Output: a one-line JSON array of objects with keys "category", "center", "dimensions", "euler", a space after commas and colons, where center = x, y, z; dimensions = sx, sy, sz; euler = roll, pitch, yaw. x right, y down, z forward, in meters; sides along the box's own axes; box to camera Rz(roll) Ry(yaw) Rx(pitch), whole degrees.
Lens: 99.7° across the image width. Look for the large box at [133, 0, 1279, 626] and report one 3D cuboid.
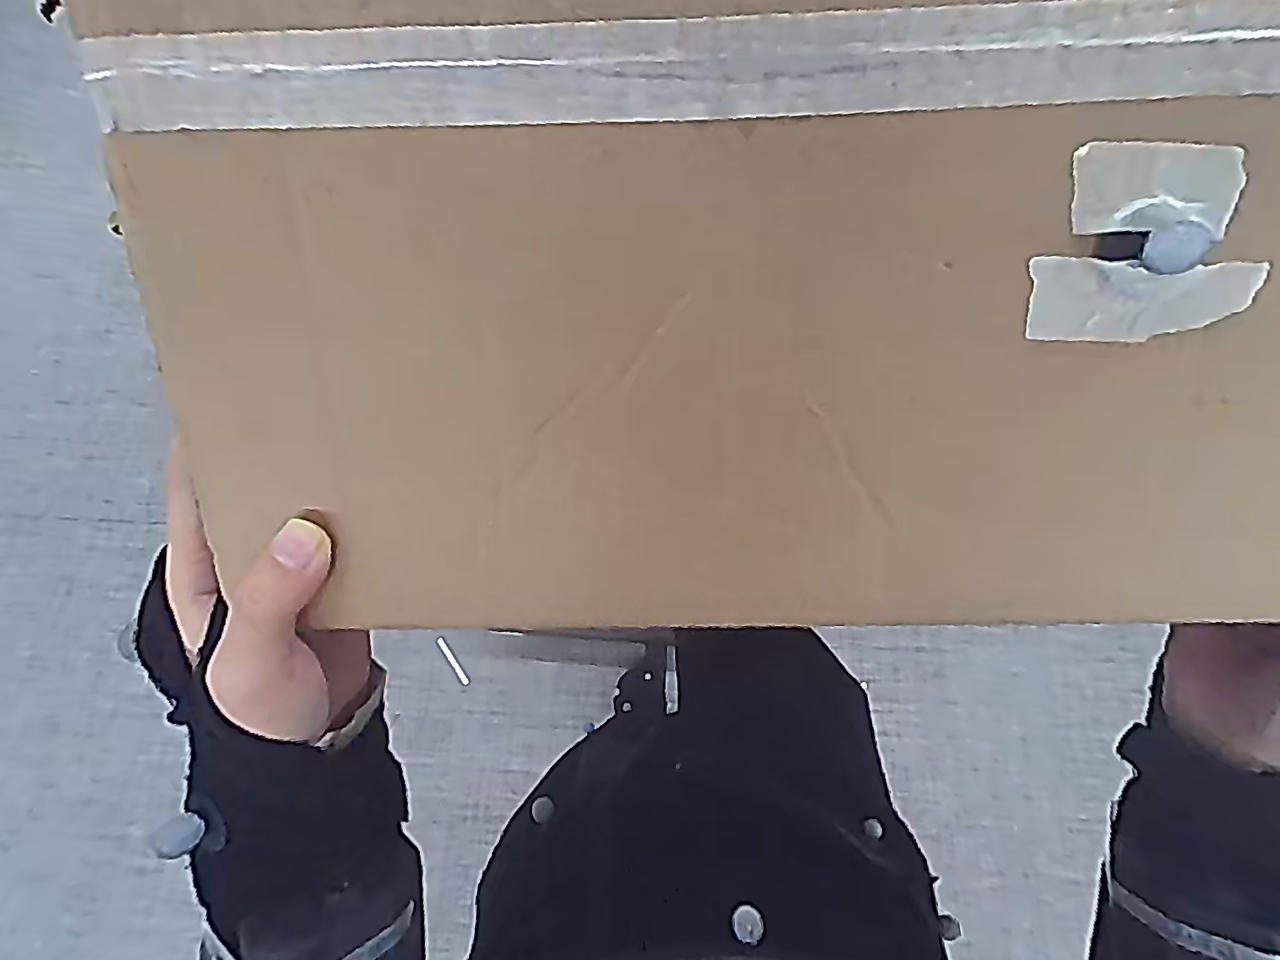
[{"category": "large box", "center": [0.062, -0.141, 0.293], "dimensions": [0.408, 0.320, 0.320], "euler": [-2, 105, 0]}]
